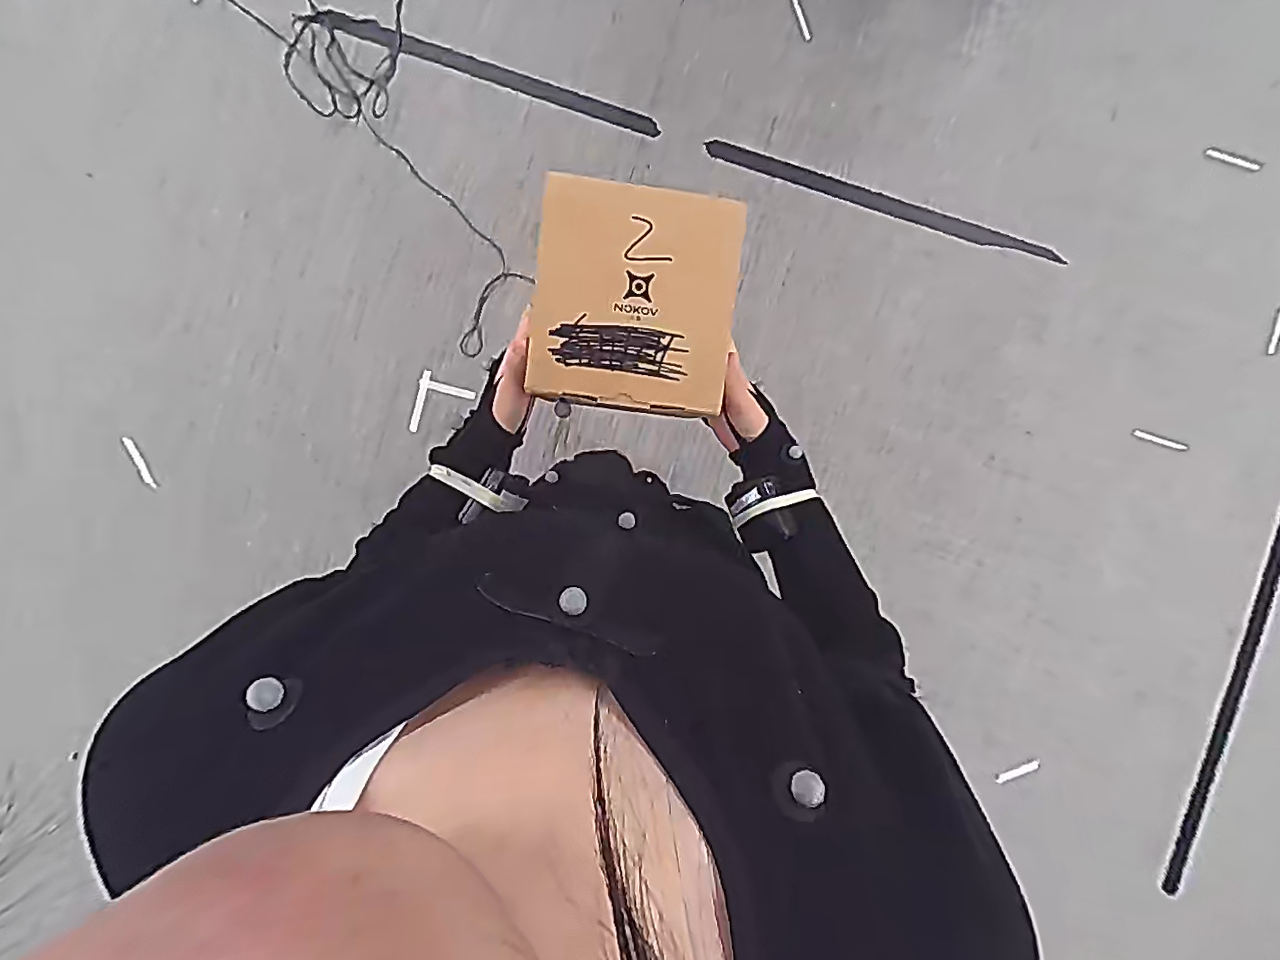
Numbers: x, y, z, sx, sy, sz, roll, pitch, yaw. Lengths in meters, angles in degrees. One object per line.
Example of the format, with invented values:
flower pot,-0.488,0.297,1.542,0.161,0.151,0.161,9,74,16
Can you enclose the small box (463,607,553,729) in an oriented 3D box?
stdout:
small box,-0.287,0.383,1.127,0.168,0.176,0.179,14,90,-1
